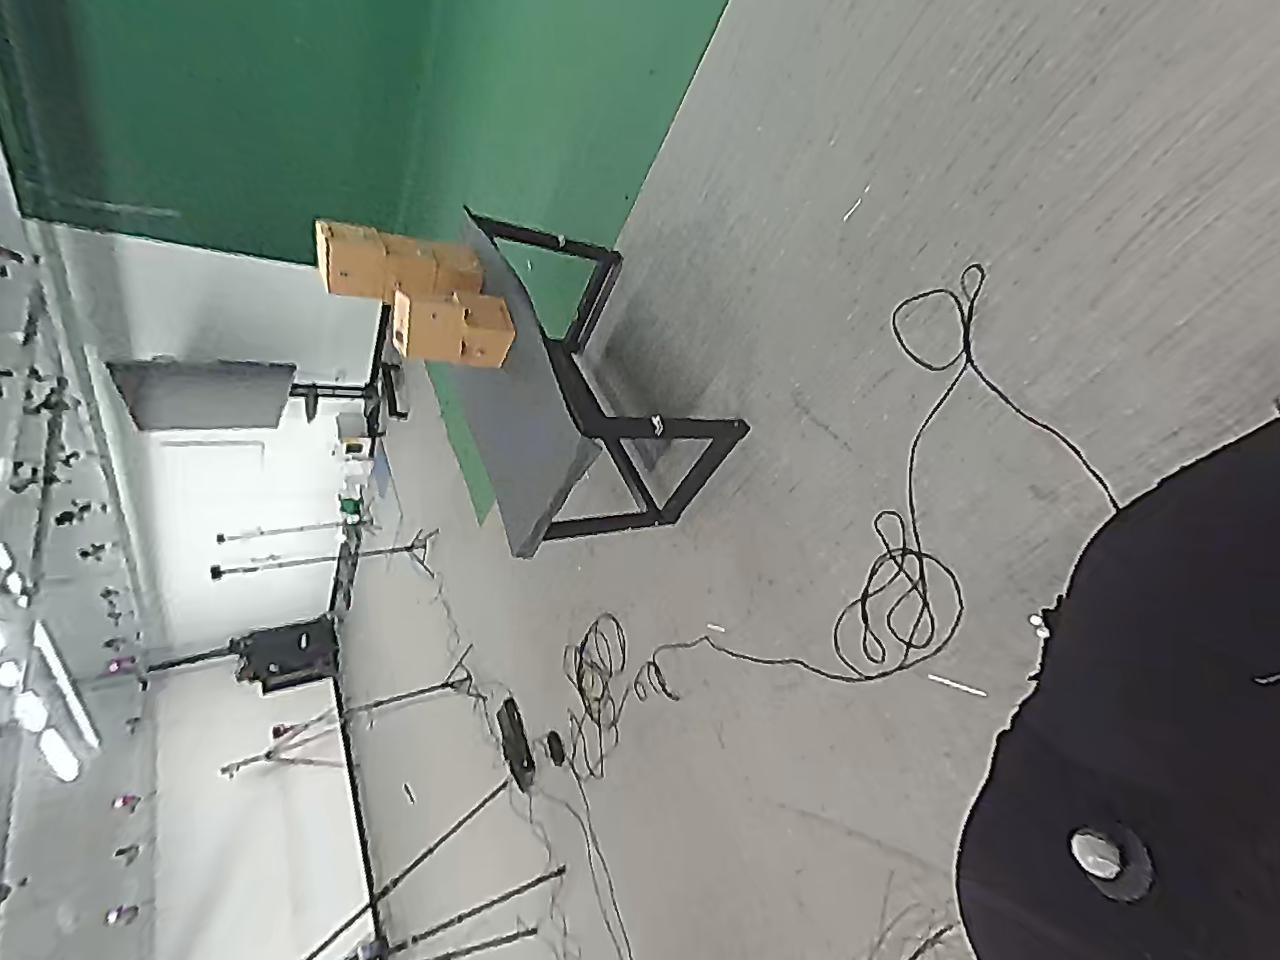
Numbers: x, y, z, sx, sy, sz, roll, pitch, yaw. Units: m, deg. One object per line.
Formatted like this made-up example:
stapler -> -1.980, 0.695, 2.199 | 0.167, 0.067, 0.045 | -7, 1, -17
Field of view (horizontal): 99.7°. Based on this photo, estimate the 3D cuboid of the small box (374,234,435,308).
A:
small box -> -0.824, -0.717, 1.873 | 0.168, 0.176, 0.179 | 55, 133, 30

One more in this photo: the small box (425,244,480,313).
small box -> -0.698, -0.729, 1.975 | 0.168, 0.176, 0.179 | 59, 137, 28

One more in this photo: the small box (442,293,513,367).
small box -> -0.542, -0.494, 1.806 | 0.179, 0.176, 0.168 | -48, 58, 45

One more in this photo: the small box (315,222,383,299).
small box -> -0.952, -0.710, 1.768 | 0.168, 0.176, 0.179 | 52, 133, 32
